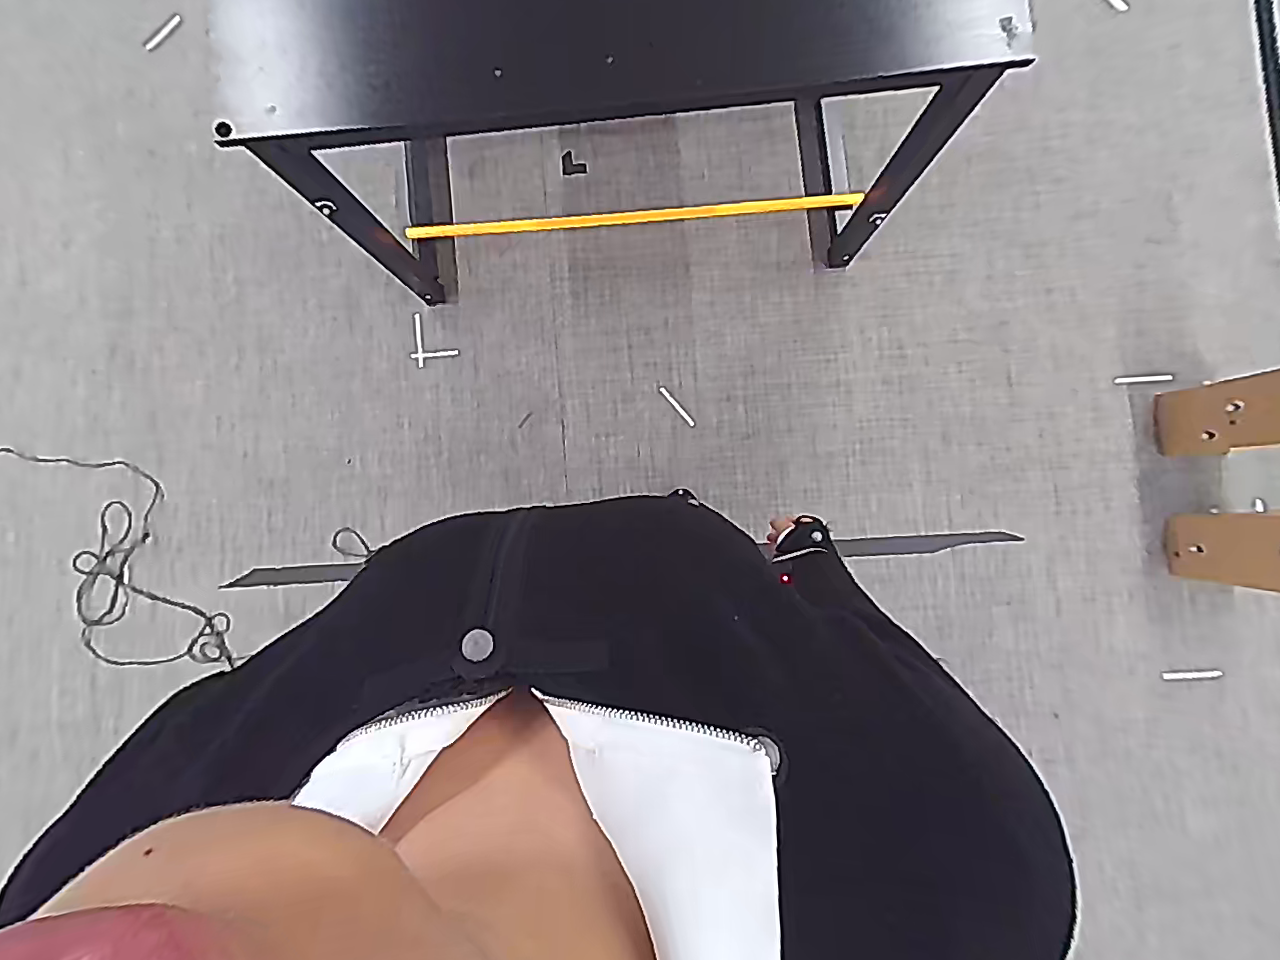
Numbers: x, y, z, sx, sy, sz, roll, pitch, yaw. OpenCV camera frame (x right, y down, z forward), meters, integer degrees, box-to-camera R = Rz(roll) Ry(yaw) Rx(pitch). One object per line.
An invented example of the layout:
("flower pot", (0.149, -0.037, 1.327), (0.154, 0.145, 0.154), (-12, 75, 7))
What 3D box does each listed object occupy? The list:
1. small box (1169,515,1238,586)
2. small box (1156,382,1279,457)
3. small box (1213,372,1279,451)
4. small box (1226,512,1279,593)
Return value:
("small box", (1.504, 0.175, 1.375), (0.179, 0.176, 0.168), (-2, 88, 3))
("small box", (1.485, -0.152, 1.384), (0.168, 0.176, 0.179), (-6, 87, 1))
("small box", (1.475, -0.160, 1.222), (0.179, 0.176, 0.168), (-5, 86, 3))
("small box", (1.482, 0.161, 1.211), (0.168, 0.176, 0.179), (-5, 89, 2))
